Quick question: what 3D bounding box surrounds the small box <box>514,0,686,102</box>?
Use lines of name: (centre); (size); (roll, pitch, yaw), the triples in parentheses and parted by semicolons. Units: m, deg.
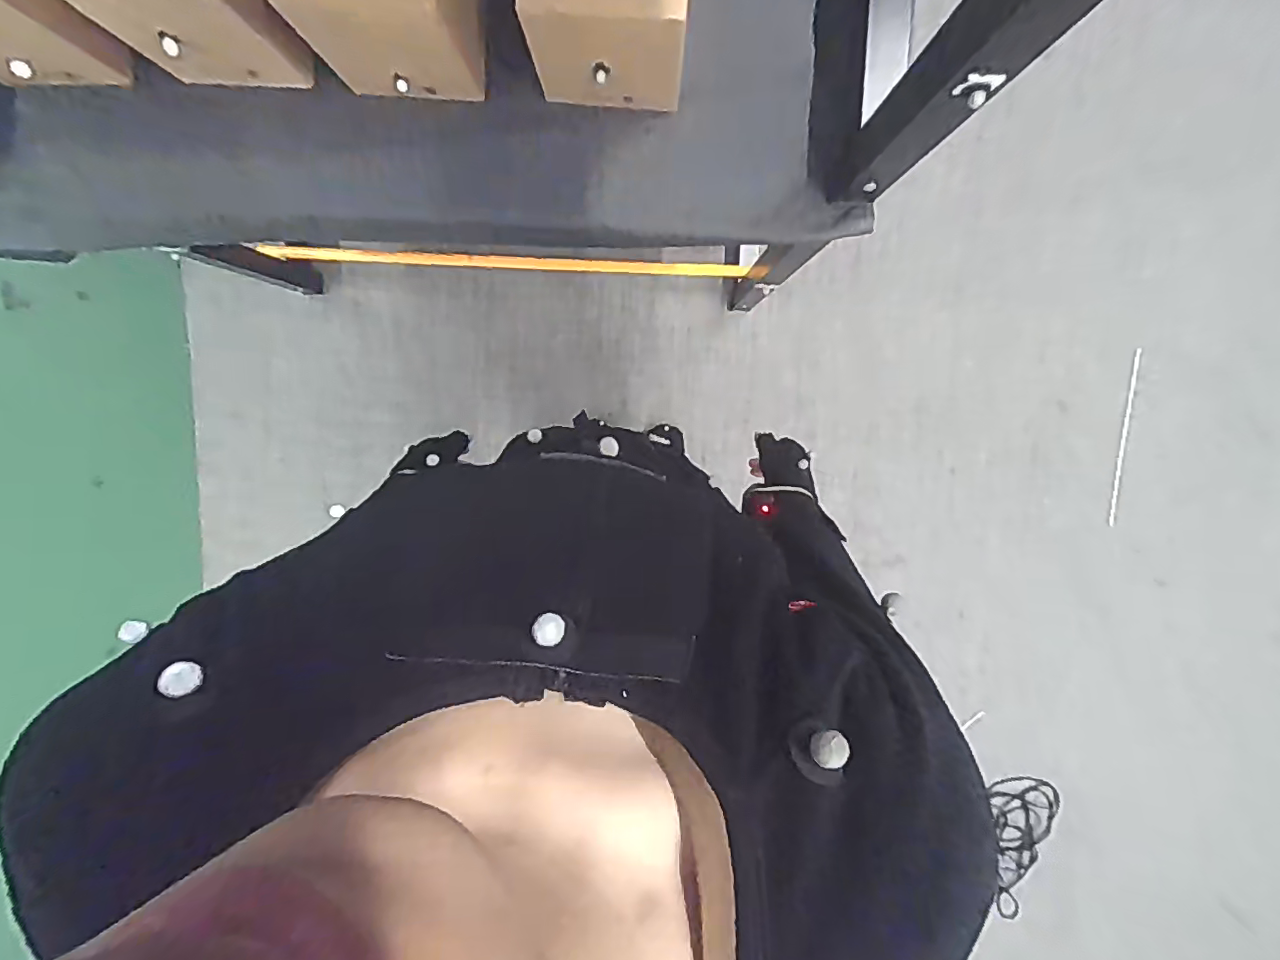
small box: (-0.031, -0.544, 0.579); (0.168, 0.176, 0.179); (5, 98, -1)

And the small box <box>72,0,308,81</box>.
small box: (-0.486, -0.570, 0.581); (0.168, 0.176, 0.179); (2, 98, -1)

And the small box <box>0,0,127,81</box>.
small box: (-0.713, -0.573, 0.579); (0.168, 0.176, 0.179); (0, 99, 0)
